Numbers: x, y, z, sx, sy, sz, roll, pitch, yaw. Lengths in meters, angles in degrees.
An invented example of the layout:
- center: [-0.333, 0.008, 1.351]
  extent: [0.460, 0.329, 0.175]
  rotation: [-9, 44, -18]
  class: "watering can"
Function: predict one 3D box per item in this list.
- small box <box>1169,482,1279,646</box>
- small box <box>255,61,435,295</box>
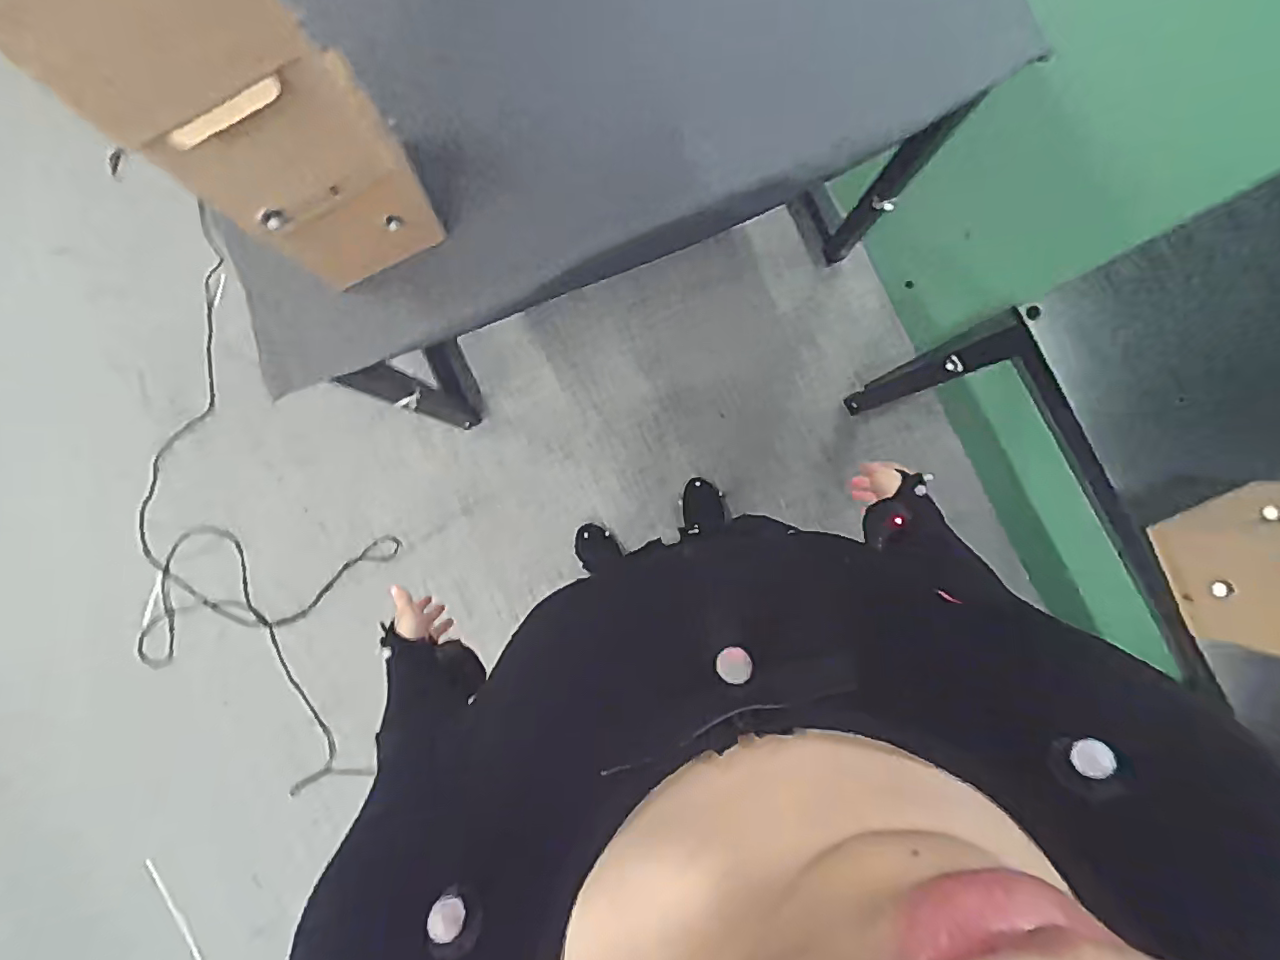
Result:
- center: [0.838, 0.106, 0.685]
  extent: [0.179, 0.176, 0.168]
  rotation: [-23, 89, 0]
  class: "small box"
- center: [-0.394, -0.376, 0.705]
  extent: [0.179, 0.176, 0.168]
  rotation: [-27, 86, 0]
  class: "small box"
